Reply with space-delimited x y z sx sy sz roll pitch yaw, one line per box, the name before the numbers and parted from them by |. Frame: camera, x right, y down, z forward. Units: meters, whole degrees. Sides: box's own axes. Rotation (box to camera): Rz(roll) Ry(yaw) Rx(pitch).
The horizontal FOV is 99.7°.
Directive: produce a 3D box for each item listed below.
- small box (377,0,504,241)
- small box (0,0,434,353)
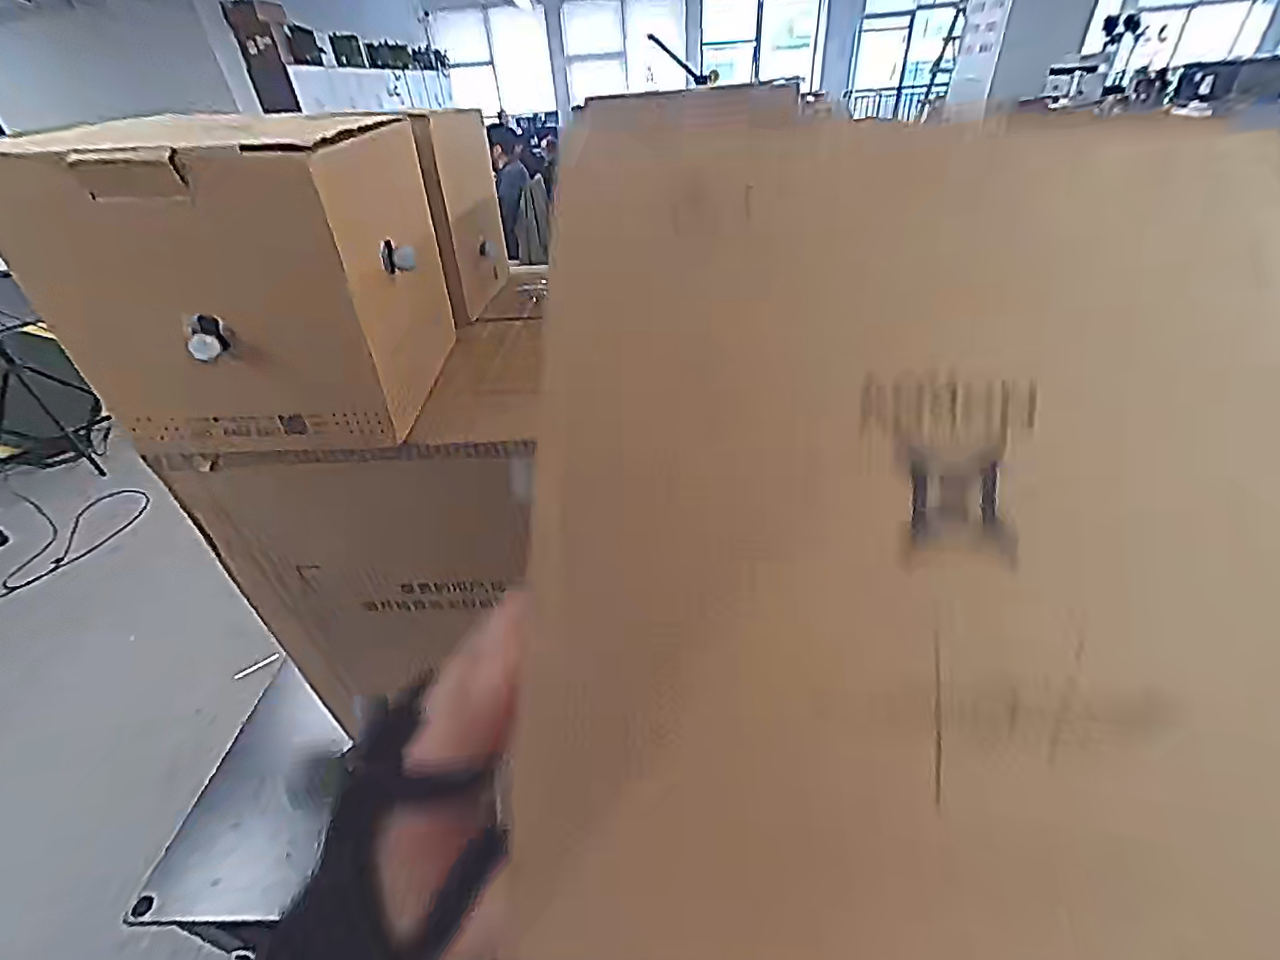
small box | -0.228 -0.297 0.444 0.179 0.176 0.168 -1 36 2
small box | -0.221 -0.175 0.279 0.168 0.176 0.179 -3 40 -4
